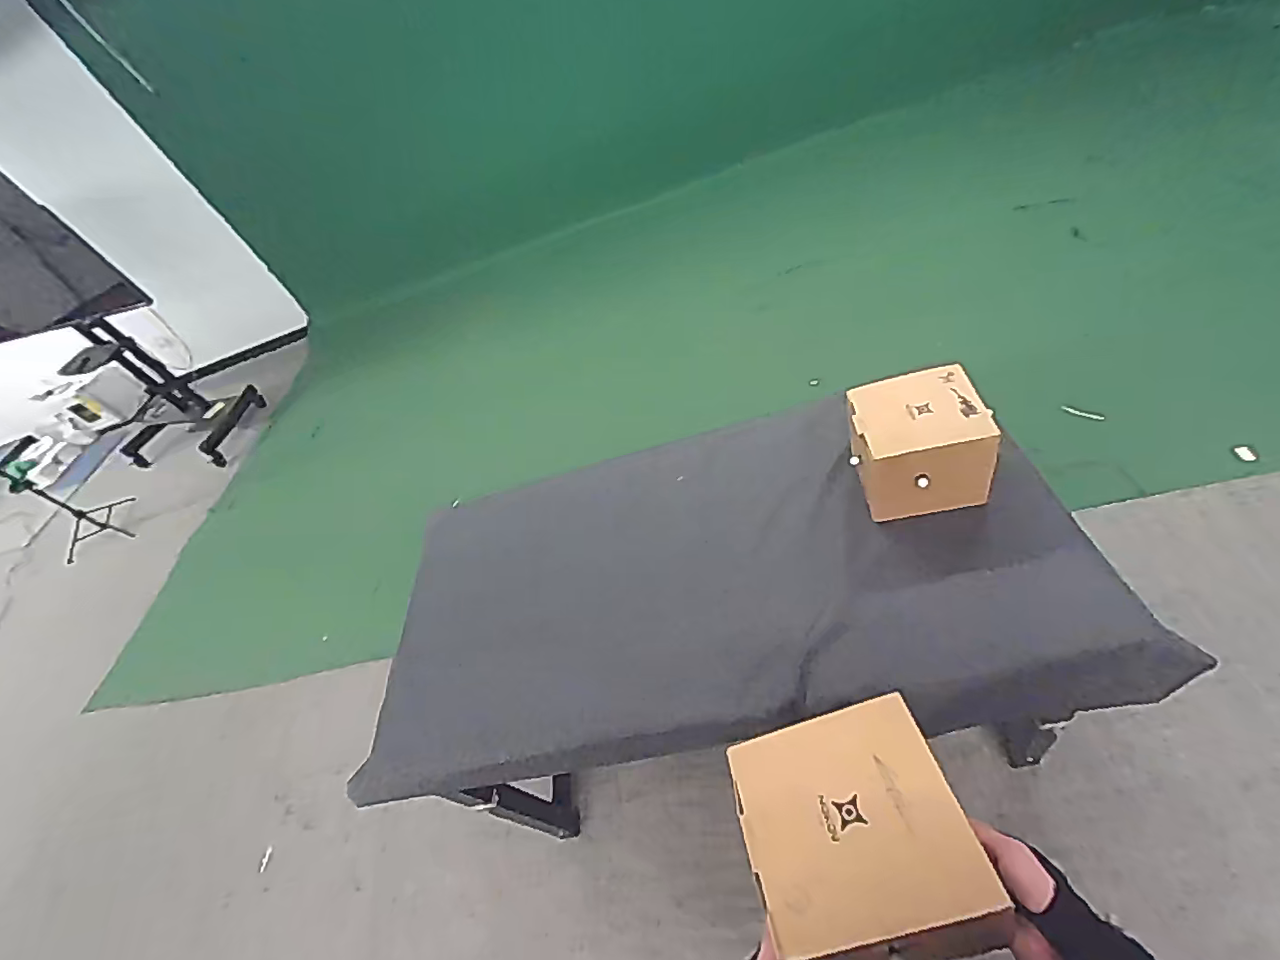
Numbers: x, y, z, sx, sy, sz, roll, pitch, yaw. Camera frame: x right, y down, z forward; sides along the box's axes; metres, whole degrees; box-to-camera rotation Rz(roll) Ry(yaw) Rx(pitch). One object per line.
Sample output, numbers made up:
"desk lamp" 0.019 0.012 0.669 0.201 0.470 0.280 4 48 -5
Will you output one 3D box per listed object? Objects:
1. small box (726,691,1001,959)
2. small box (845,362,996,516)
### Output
"small box" 0.203 0.334 0.506 0.179 0.176 0.168 -22 39 9
"small box" 0.453 -0.060 0.893 0.179 0.176 0.168 -13 49 16
